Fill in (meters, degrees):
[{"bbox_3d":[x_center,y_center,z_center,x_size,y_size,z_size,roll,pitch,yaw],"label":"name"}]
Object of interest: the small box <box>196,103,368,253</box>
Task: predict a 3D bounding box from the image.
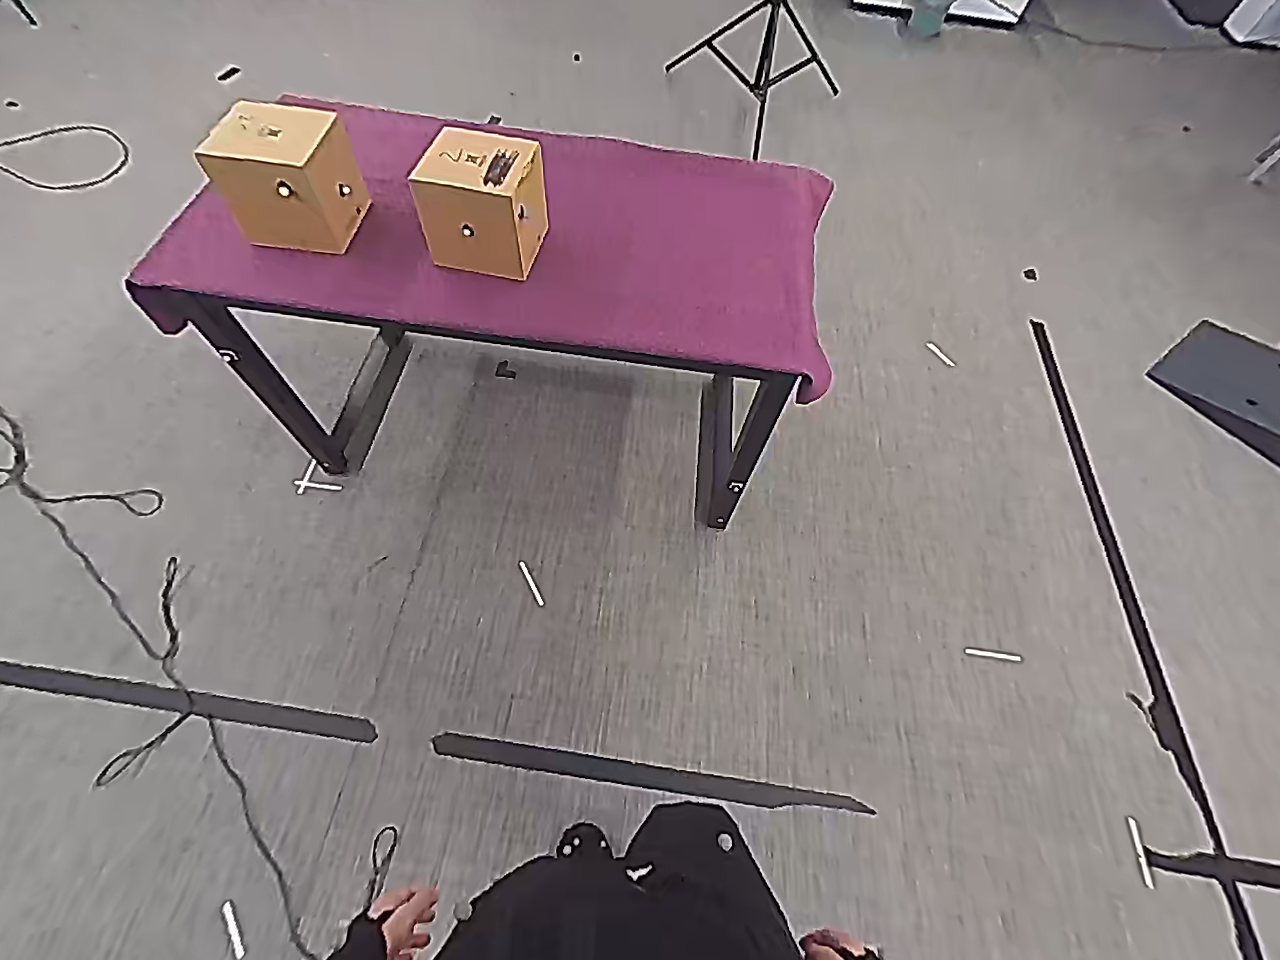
[{"bbox_3d":[-0.620,-0.534,0.969,0.179,0.176,0.168,6,59,-1],"label":"small box"}]
